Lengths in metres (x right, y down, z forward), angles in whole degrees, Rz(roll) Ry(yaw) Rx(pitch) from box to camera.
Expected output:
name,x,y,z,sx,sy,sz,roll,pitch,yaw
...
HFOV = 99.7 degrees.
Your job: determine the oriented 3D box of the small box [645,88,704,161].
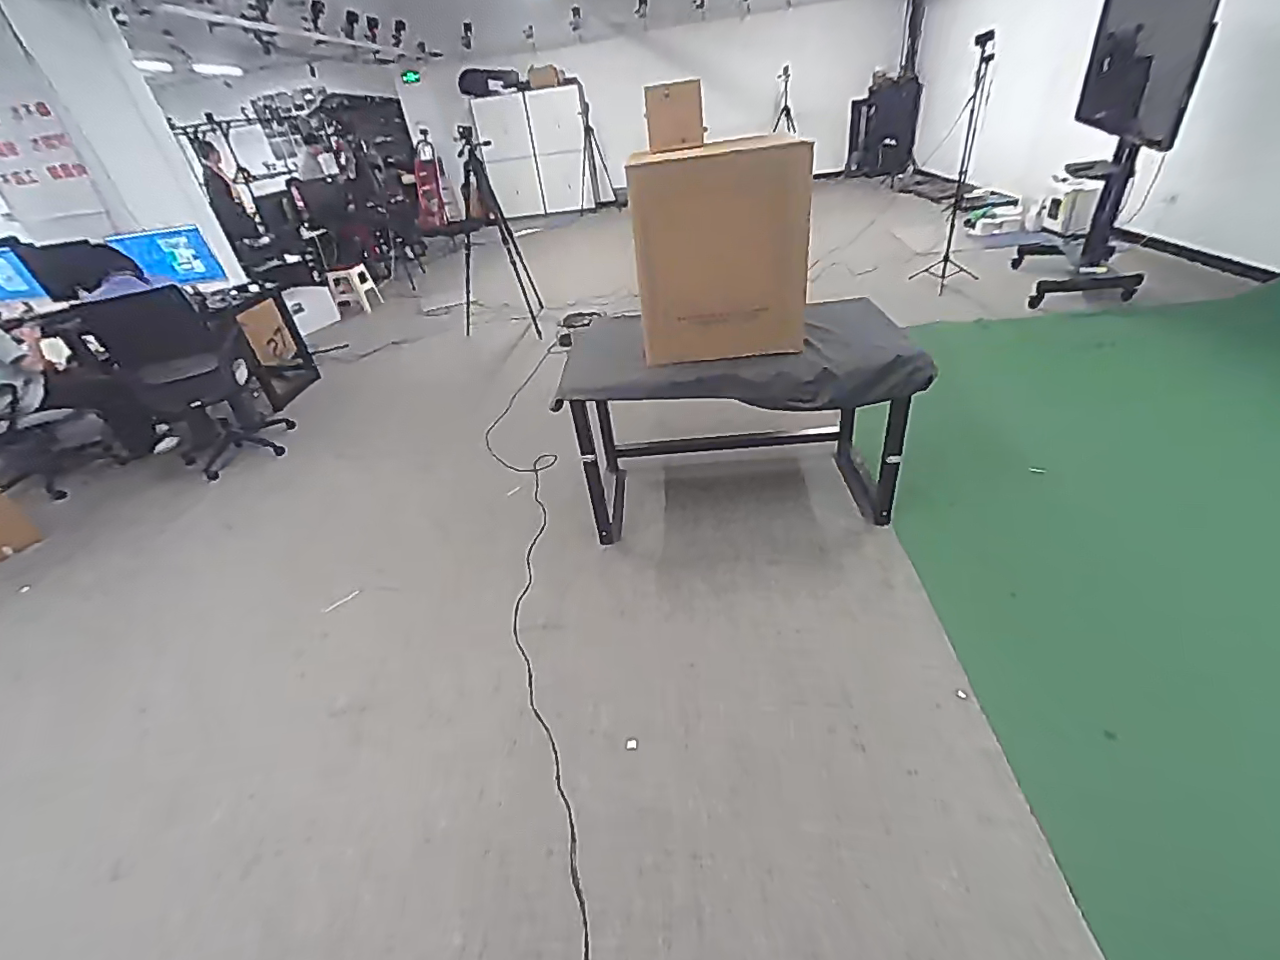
name,x,y,z,sx,sy,sz,roll,pitch,yaw
small box,0.110,-1.093,1.672,0.168,0.176,0.179,-5,33,7
